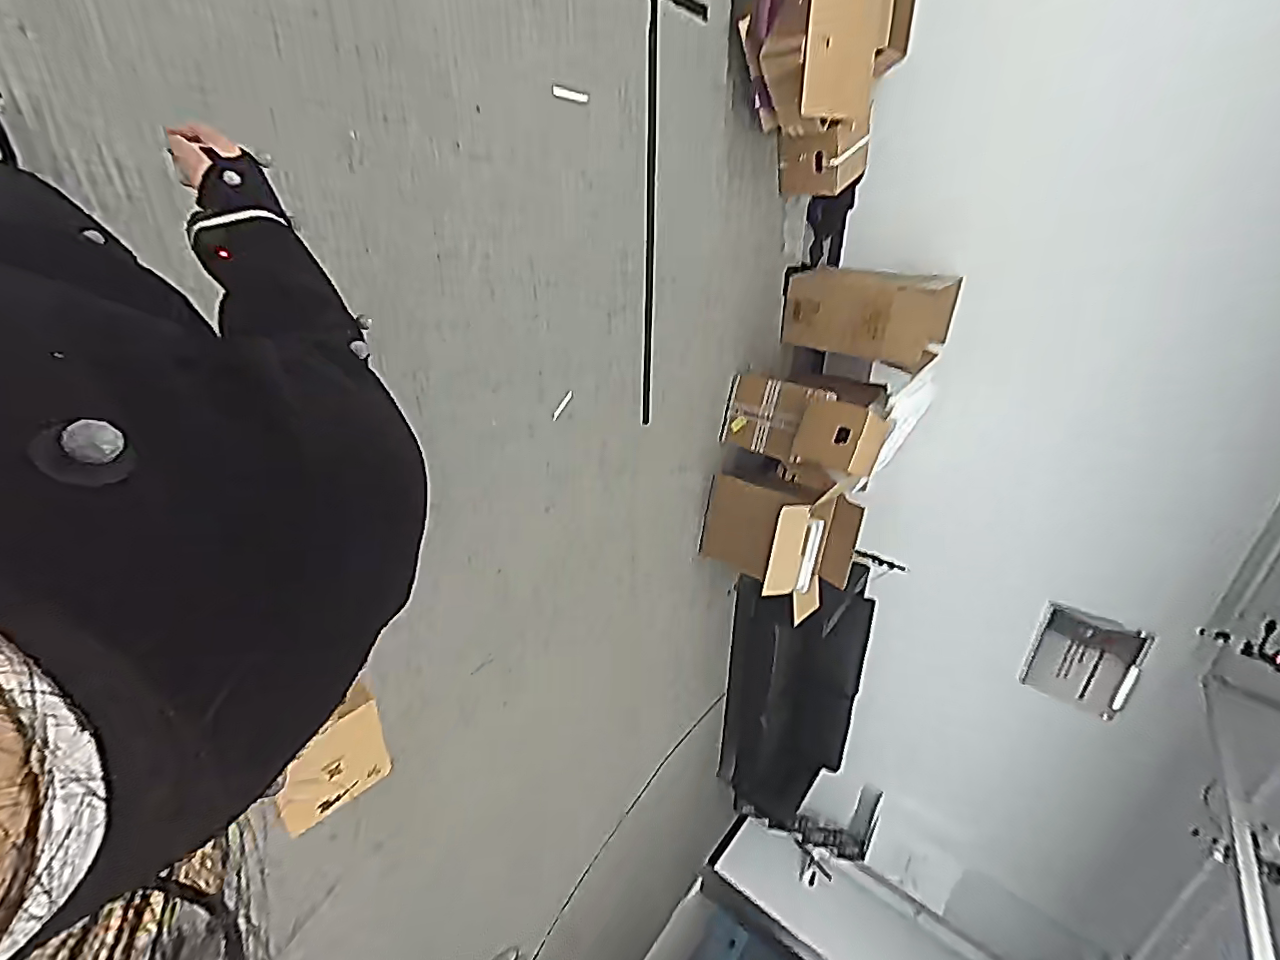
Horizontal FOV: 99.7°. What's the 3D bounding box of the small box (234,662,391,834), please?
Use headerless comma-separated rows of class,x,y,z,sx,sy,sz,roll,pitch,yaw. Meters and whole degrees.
small box,-0.556,0.437,0.921,0.168,0.176,0.179,-23,123,-45

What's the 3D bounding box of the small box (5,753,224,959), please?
small box,-0.718,0.513,0.744,0.168,0.176,0.179,-24,125,-46
